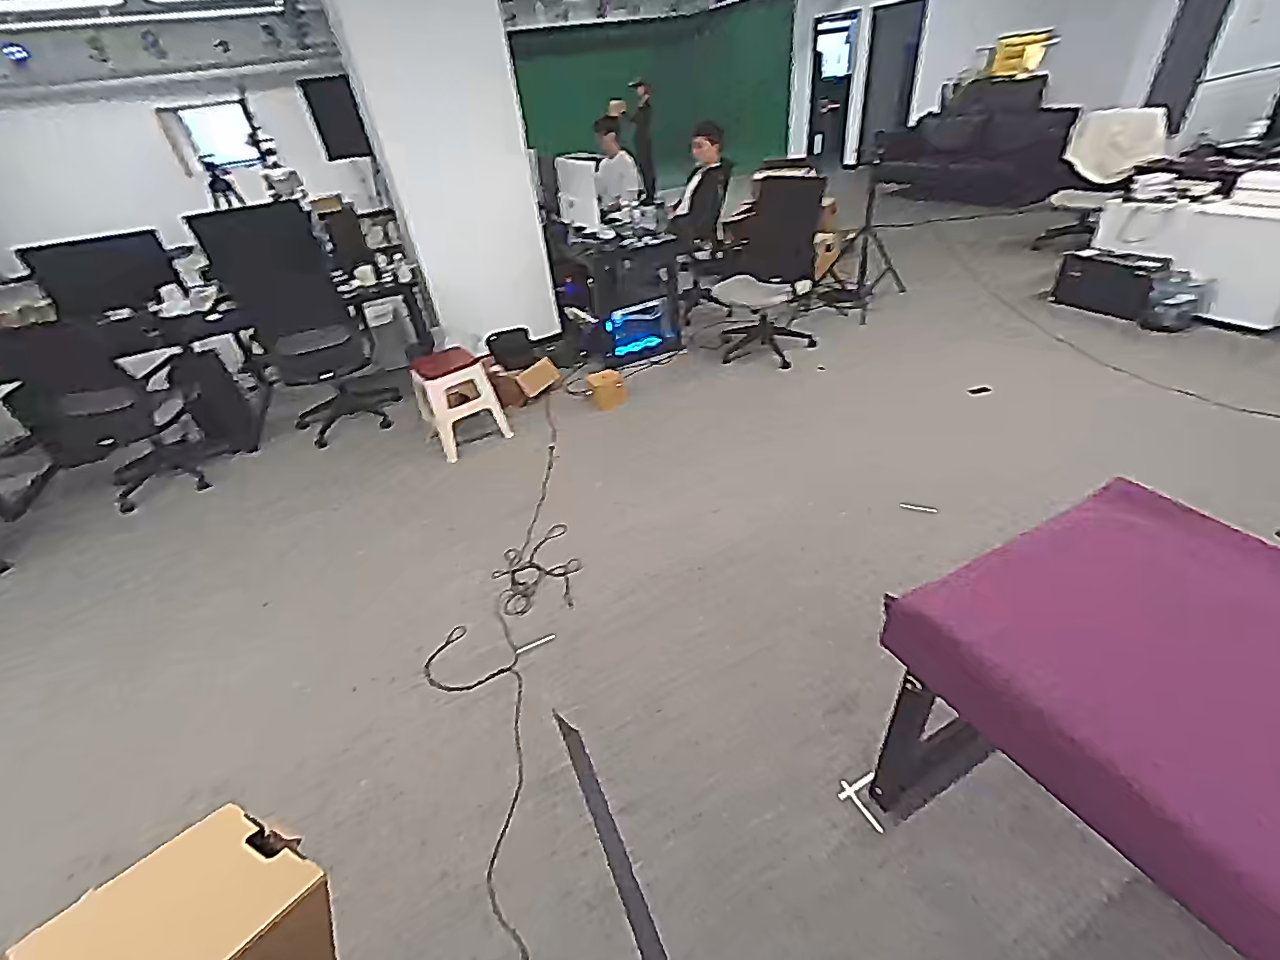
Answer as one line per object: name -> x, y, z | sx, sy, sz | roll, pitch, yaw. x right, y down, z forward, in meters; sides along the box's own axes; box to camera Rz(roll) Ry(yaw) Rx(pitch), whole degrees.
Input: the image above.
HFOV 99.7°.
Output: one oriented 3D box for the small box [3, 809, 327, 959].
small box -> -0.421, 0.468, 0.505 | 0.168, 0.176, 0.179 | 11, 16, 24
